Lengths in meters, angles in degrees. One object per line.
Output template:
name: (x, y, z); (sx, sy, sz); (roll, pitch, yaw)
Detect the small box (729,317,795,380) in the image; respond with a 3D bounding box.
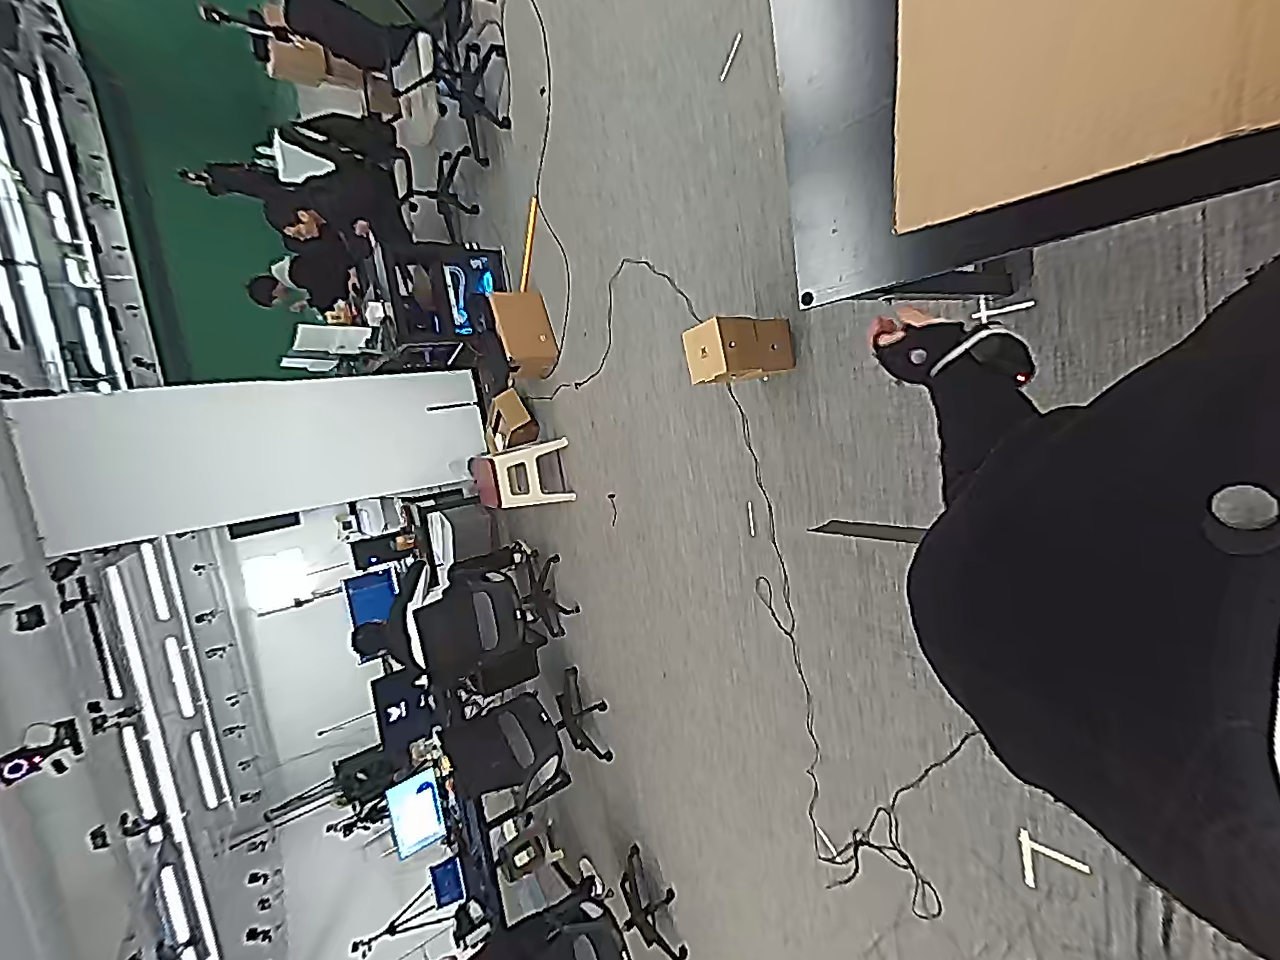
small box: (0.405, -0.446, 1.843); (0.168, 0.176, 0.179); (-4, 98, 55)

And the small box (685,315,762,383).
small box: (0.273, -0.423, 1.751); (0.168, 0.176, 0.179); (-10, 91, 54)
